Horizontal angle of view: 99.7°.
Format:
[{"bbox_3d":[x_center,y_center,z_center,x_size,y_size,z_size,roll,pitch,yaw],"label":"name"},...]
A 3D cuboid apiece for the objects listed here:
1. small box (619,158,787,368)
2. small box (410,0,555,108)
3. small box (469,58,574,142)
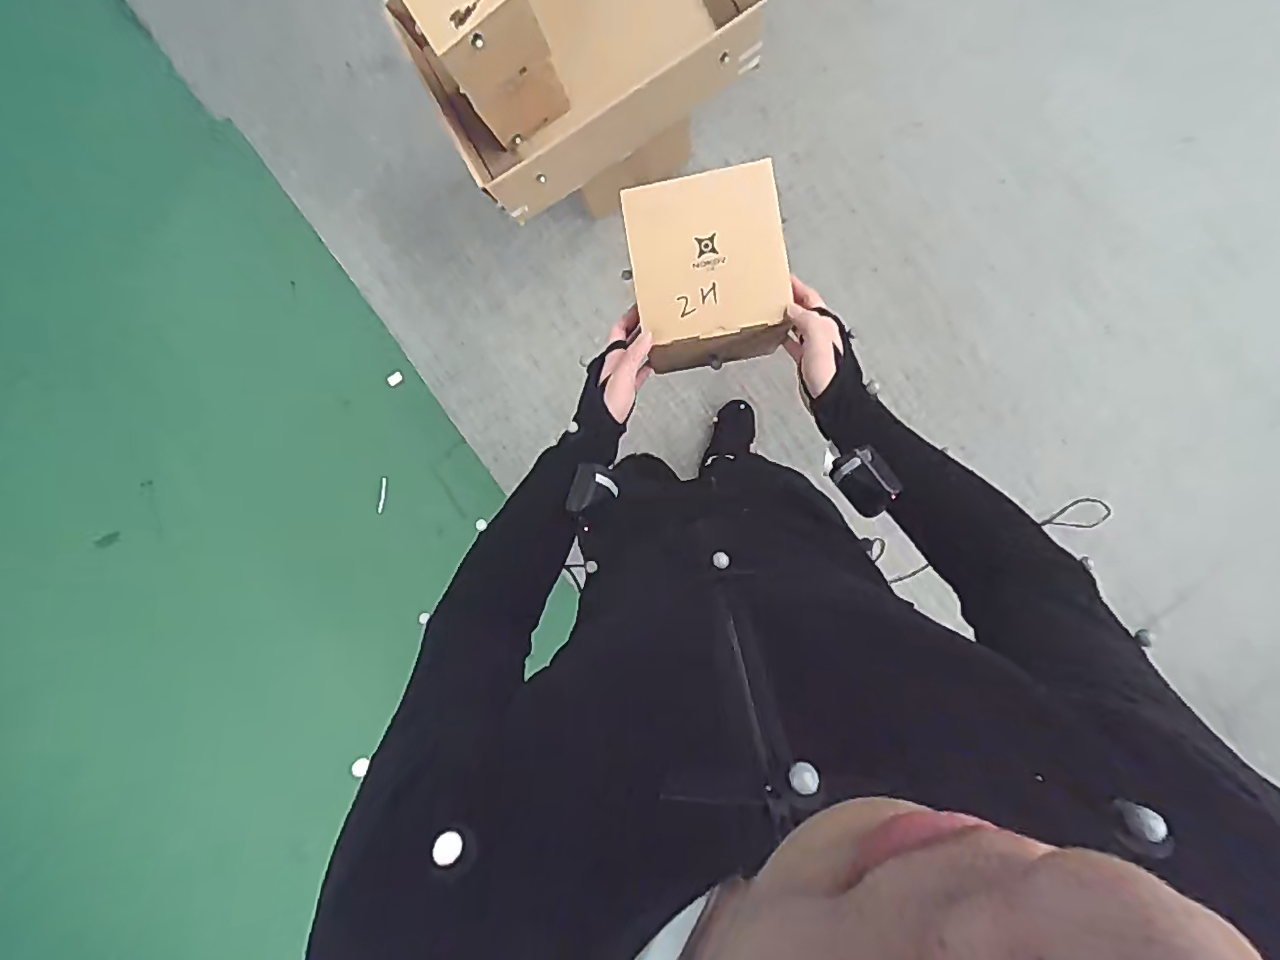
[{"bbox_3d":[0.076,-0.250,0.665,0.168,0.176,0.179,-8,90,8],"label":"small box"},{"bbox_3d":[-0.268,-0.777,0.895,0.168,0.176,0.179,-30,94,12],"label":"small box"},{"bbox_3d":[-0.251,-0.802,1.056,0.168,0.176,0.179,-29,93,11],"label":"small box"}]
